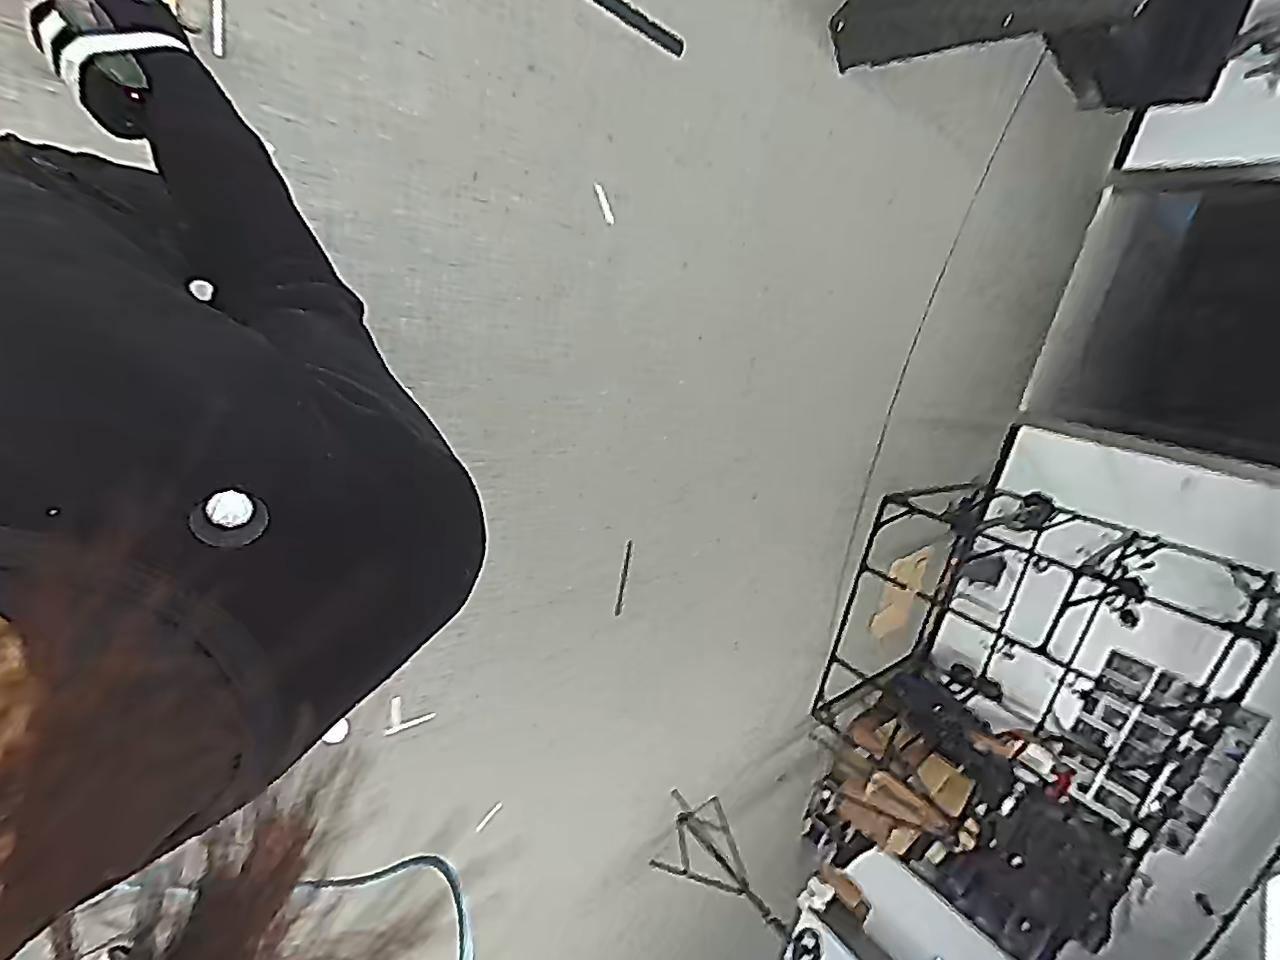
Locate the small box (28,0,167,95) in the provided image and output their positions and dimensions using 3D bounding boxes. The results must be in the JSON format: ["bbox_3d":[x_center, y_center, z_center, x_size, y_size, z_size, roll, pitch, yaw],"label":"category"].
[{"bbox_3d":[-0.954,-0.825,0.961,0.168,0.176,0.179,1,109,-43],"label":"small box"}]
